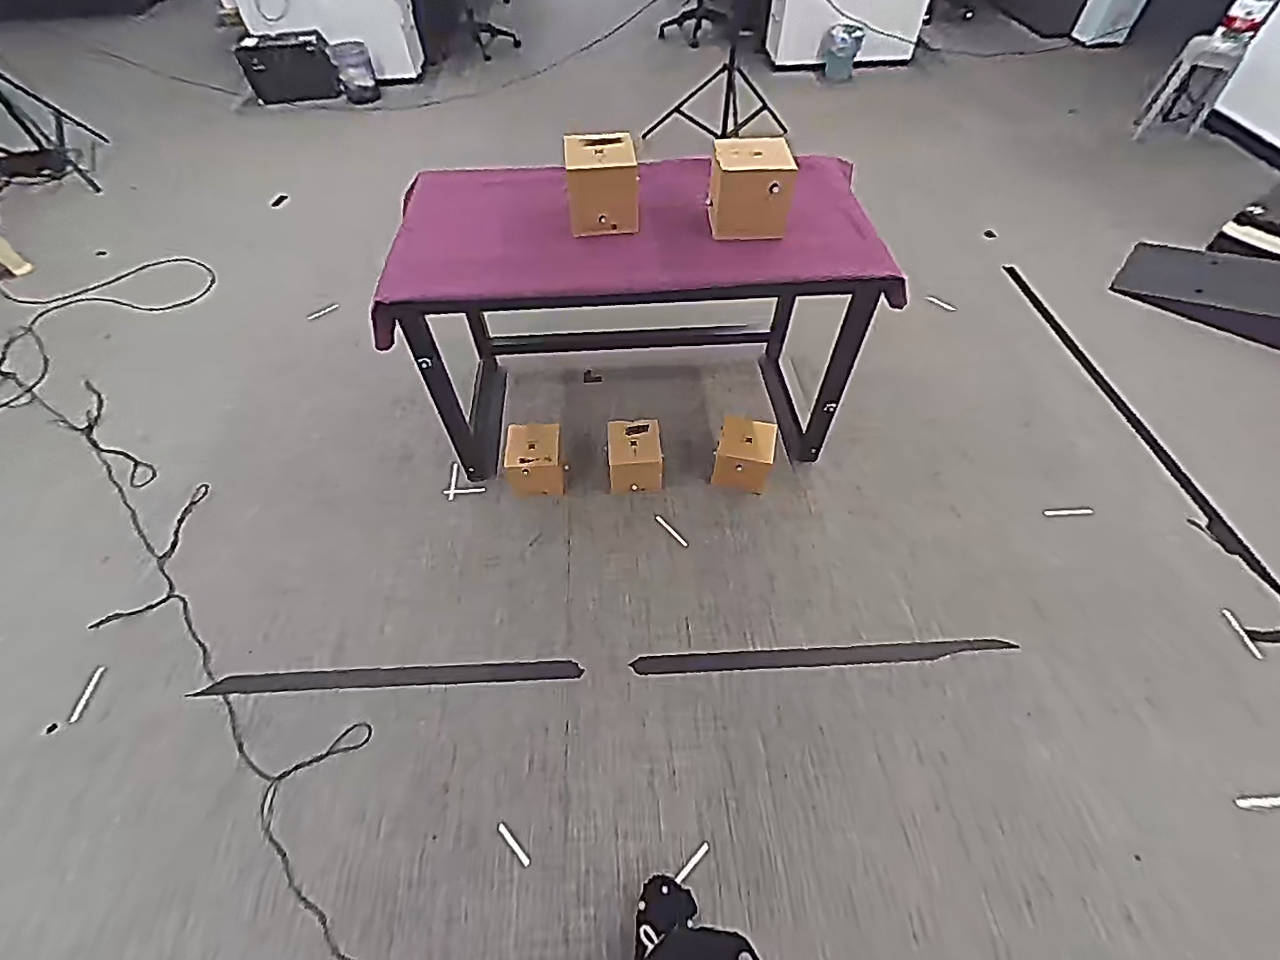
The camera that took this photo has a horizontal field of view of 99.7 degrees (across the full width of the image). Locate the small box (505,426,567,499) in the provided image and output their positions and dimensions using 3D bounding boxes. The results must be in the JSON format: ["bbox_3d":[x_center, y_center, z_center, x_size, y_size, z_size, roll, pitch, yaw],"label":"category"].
[{"bbox_3d":[-0.333,-0.056,1.764,0.168,0.176,0.179,-2,52,0],"label":"small box"}]

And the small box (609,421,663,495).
[{"bbox_3d":[-0.016,-0.069,1.767,0.168,0.176,0.179,-4,55,-2],"label":"small box"}]

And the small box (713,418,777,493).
[{"bbox_3d":[0.341,-0.076,1.767,0.179,0.176,0.168,10,55,9],"label":"small box"}]

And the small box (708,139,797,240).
[{"bbox_3d":[0.268,-0.708,1.326,0.179,0.176,0.168,-2,53,0],"label":"small box"}]
